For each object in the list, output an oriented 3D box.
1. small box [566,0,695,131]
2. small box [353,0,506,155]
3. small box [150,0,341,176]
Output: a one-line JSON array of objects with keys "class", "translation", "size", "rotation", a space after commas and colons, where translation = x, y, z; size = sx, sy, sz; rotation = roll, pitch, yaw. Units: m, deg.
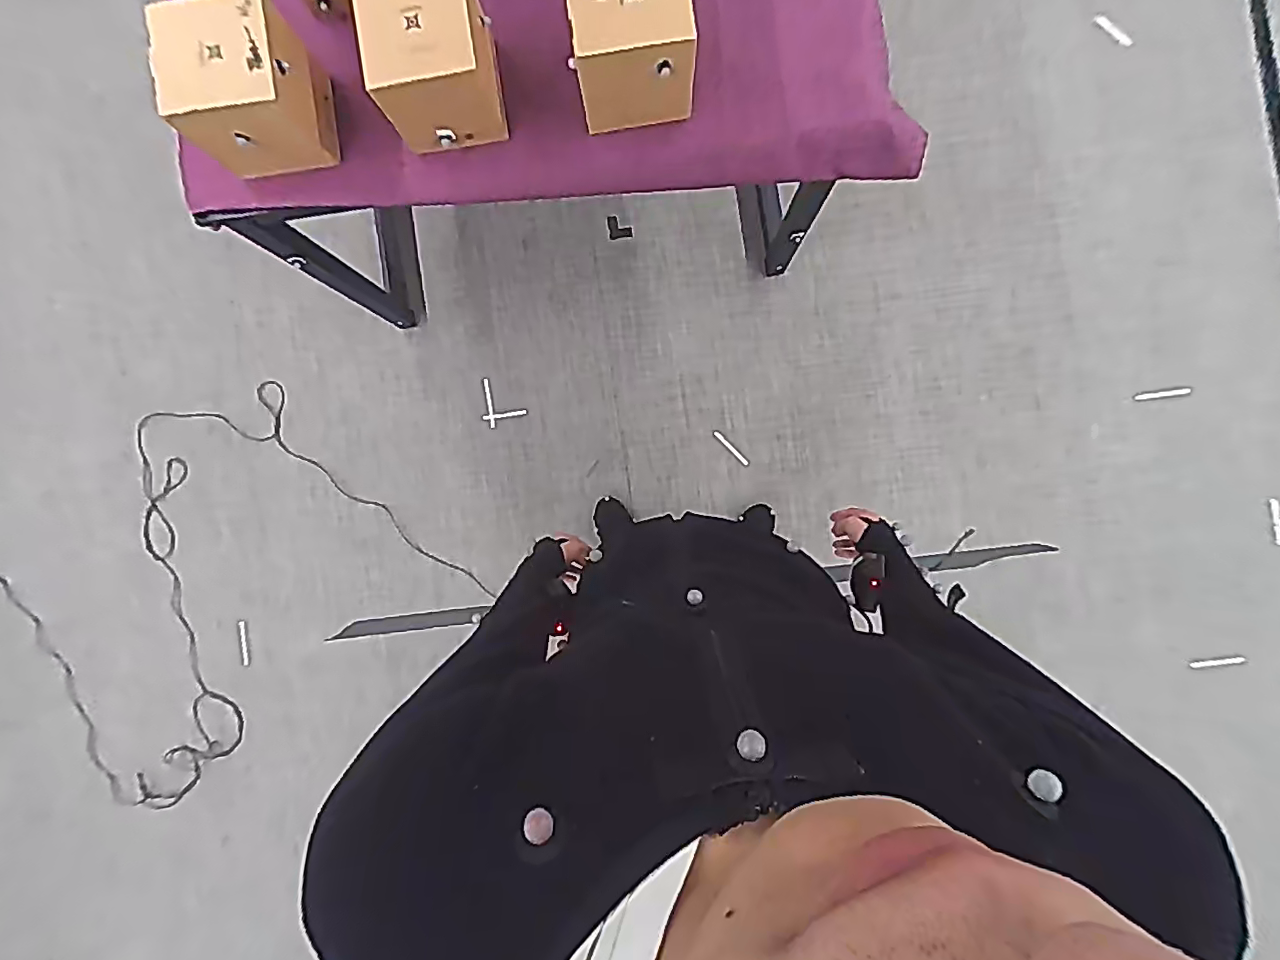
[{"class": "small box", "translation": [-0.015, -0.682, 0.839], "size": [0.179, 0.176, 0.168], "rotation": [-8, 89, 3]}, {"class": "small box", "translation": [-0.323, -0.656, 0.854], "size": [0.168, 0.176, 0.179], "rotation": [-8, 91, 3]}, {"class": "small box", "translation": [-0.616, -0.615, 0.862], "size": [0.179, 0.176, 0.168], "rotation": [-7, 90, 3]}]
